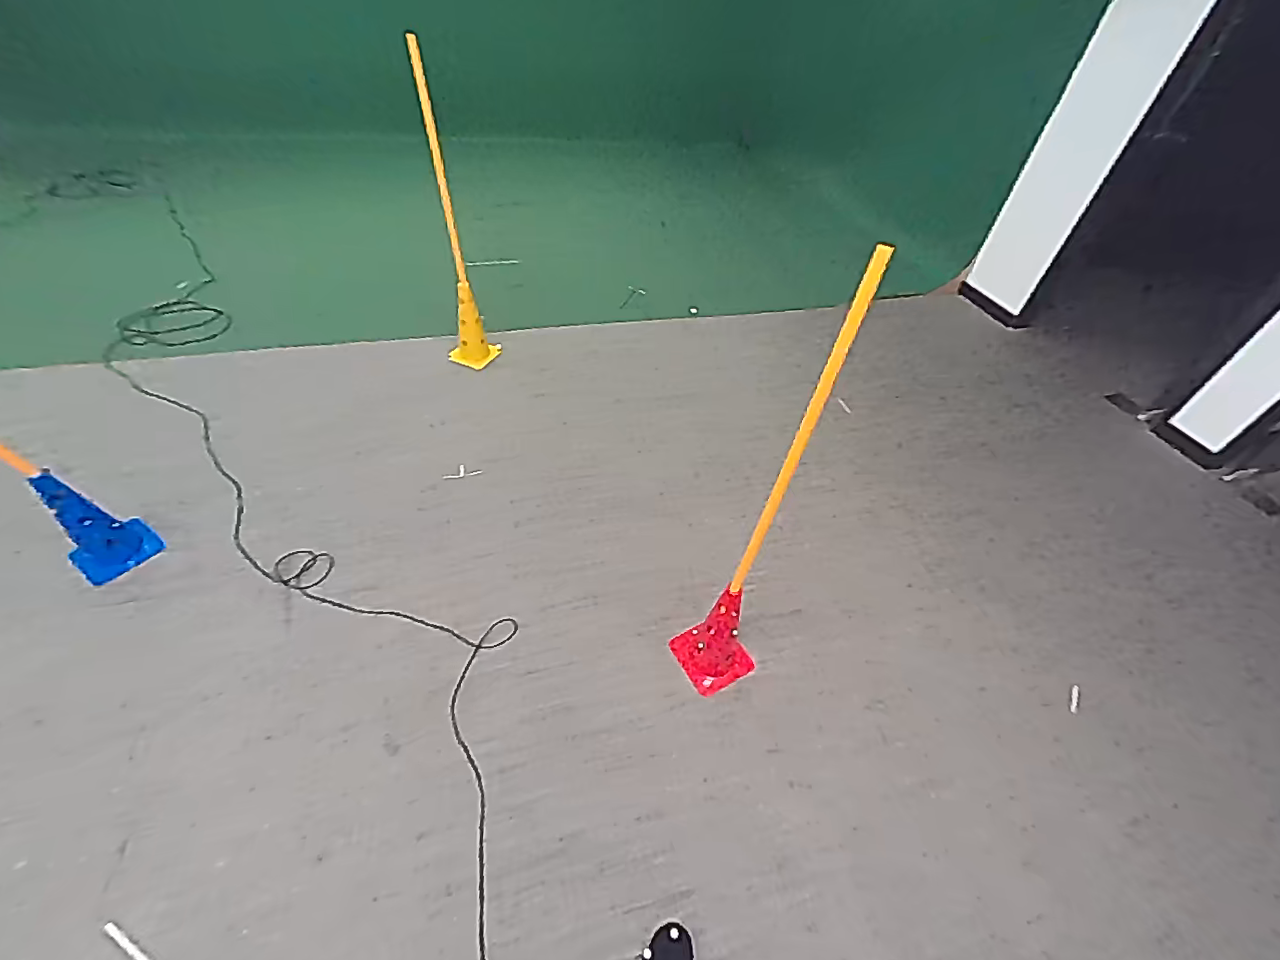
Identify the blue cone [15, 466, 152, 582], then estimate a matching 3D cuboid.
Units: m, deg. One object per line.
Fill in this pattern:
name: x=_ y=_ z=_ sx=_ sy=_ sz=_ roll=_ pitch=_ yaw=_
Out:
blue cone: x=-1.632 y=0.106 z=1.554 sx=0.192 sy=0.380 sz=0.193 roll=28 pitch=51 yaw=19
